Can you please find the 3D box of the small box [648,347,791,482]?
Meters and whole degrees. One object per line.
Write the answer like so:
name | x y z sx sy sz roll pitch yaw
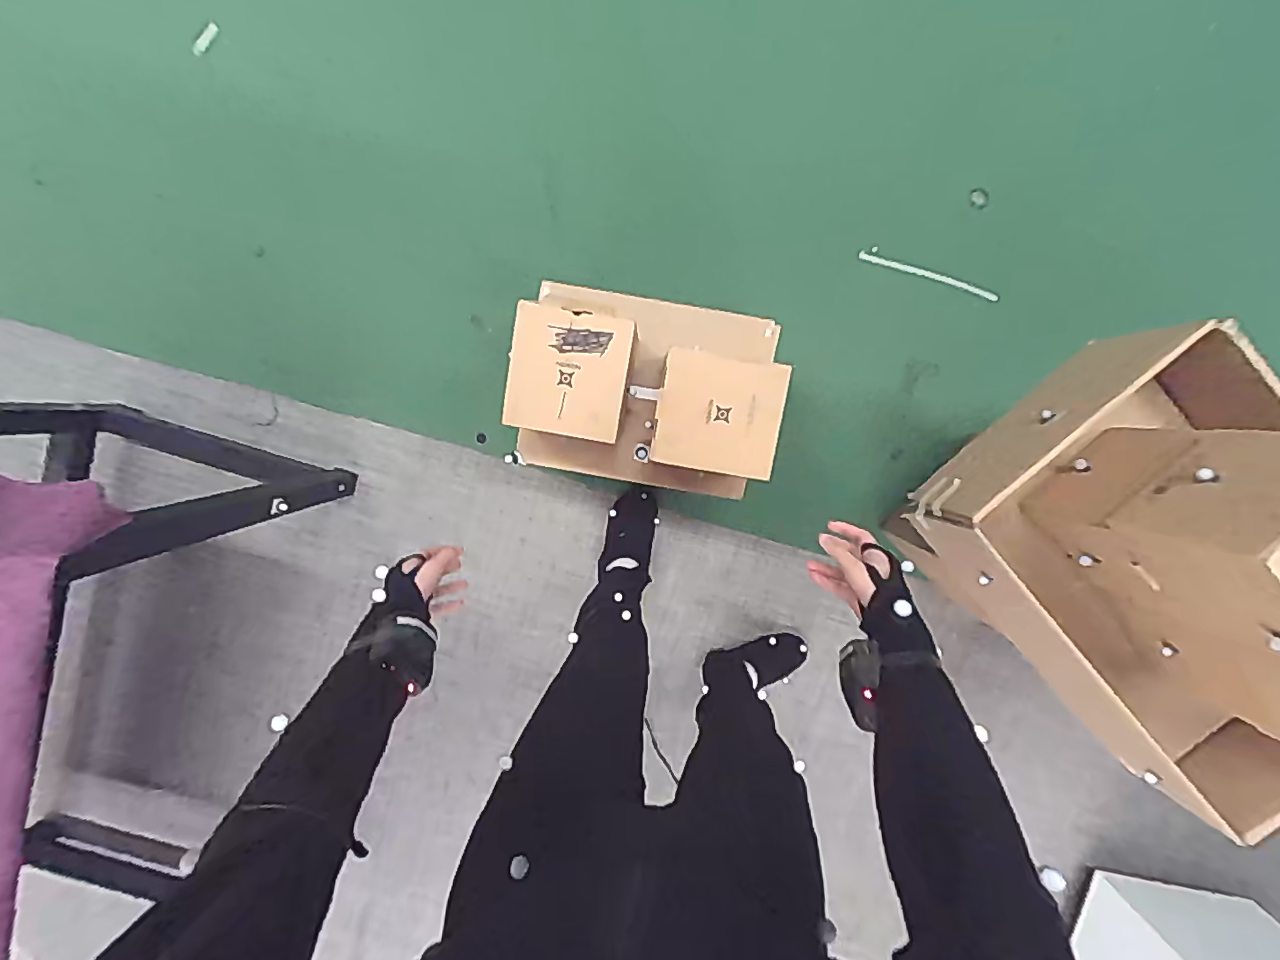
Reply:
small box | 0.113 -0.100 0.838 0.179 0.176 0.168 10 98 0

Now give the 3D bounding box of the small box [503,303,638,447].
small box | -0.098 -0.155 0.836 0.168 0.176 0.179 10 97 0

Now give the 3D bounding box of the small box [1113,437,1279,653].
small box | 0.675 0.067 0.567 0.168 0.176 0.179 -43 94 5
